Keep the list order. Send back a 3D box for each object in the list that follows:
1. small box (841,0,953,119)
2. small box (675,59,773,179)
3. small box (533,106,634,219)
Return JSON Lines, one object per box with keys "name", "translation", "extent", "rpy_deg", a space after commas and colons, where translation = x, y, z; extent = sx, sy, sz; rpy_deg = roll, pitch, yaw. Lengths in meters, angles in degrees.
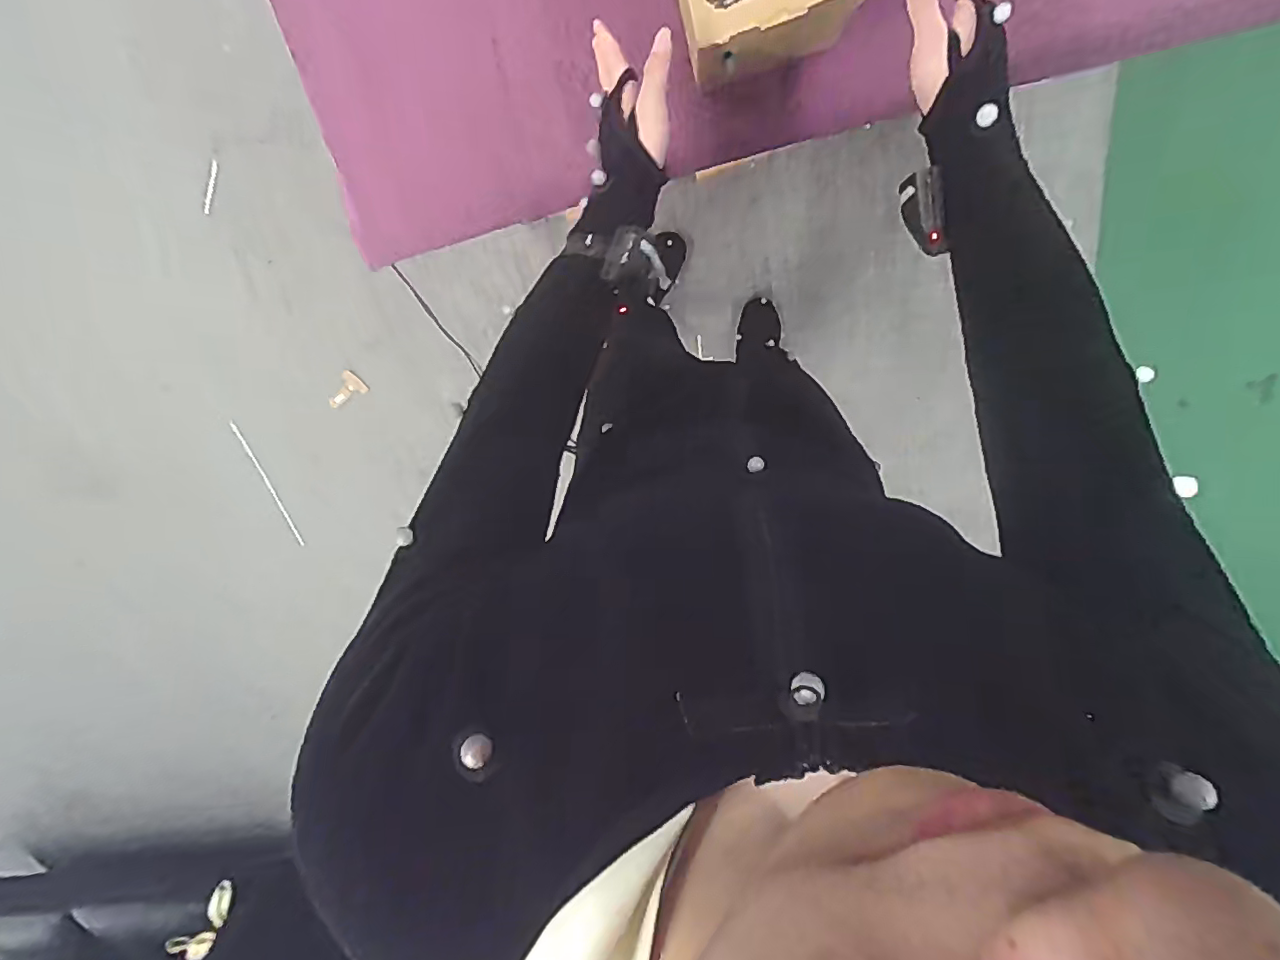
{"name": "small box", "translation": [0.534, -0.886, 1.135], "extent": [0.168, 0.176, 0.179], "rpy_deg": [-13, 113, 11]}
{"name": "small box", "translation": [0.184, -0.796, 1.211], "extent": [0.179, 0.176, 0.168], "rpy_deg": [-16, 112, 13]}
{"name": "small box", "translation": [-0.122, -0.734, 1.268], "extent": [0.168, 0.176, 0.179], "rpy_deg": [-18, 112, 13]}
